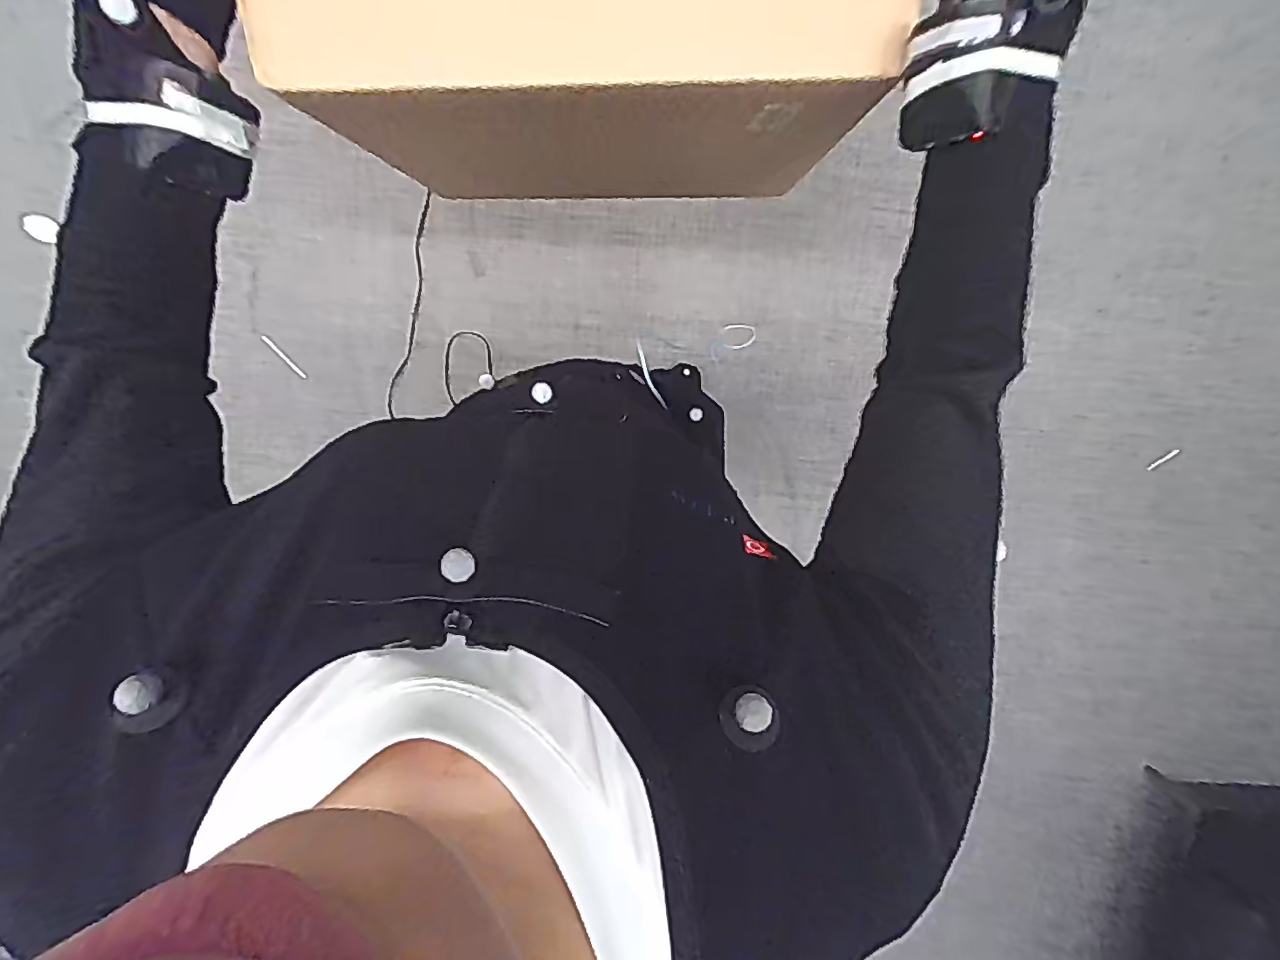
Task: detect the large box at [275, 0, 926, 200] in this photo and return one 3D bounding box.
[{"bbox_3d":[-0.028,-0.439,0.444,0.408,0.320,0.320,-1,106,0],"label":"large box"}]
